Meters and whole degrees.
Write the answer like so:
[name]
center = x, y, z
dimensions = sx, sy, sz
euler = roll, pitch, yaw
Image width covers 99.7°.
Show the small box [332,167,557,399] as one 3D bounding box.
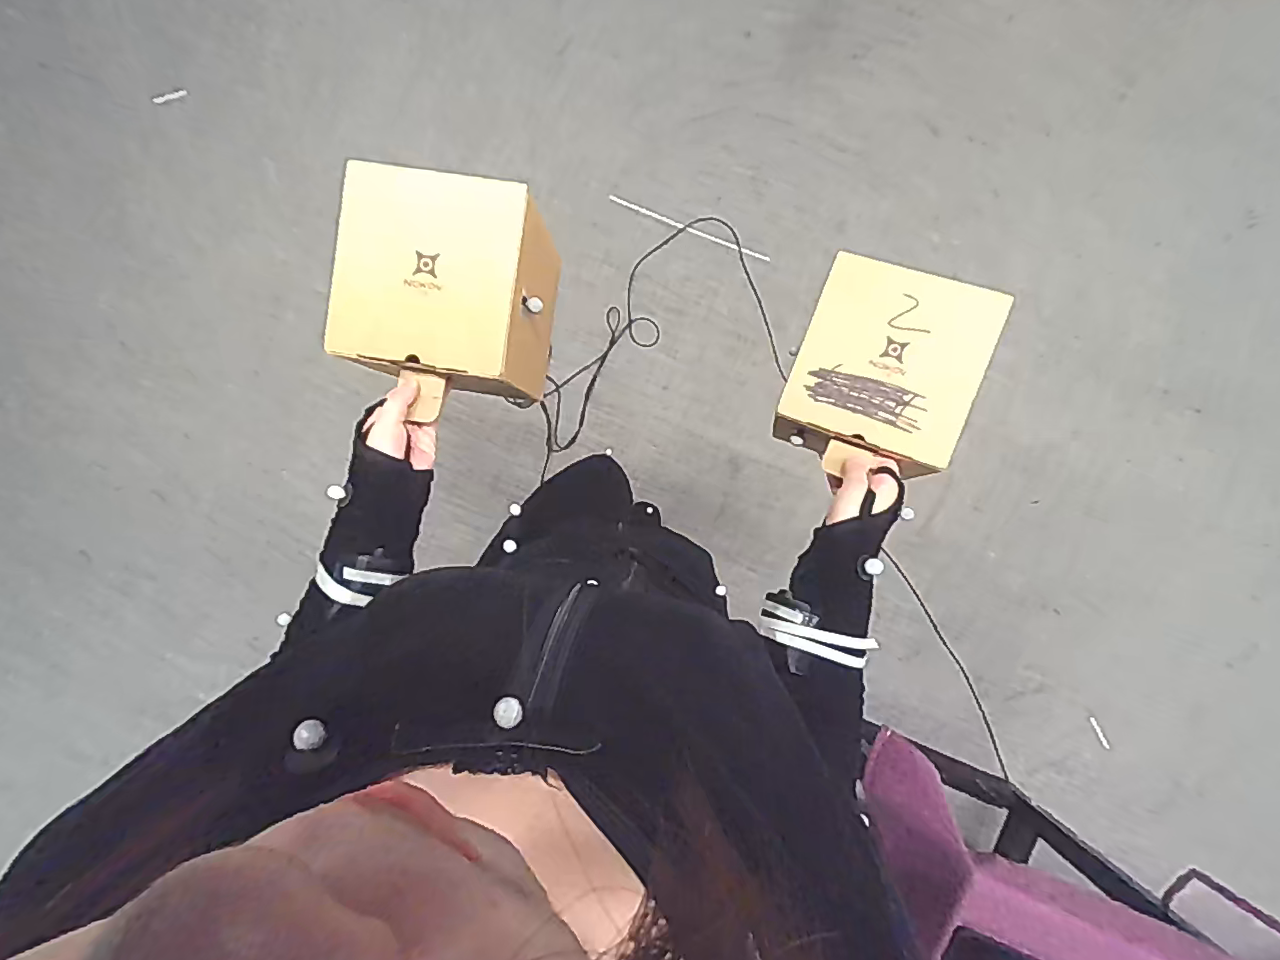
[small box]
center = -0.190, -0.192, 0.576
dimensions = 0.168, 0.176, 0.179
euler = 9, 93, 1
